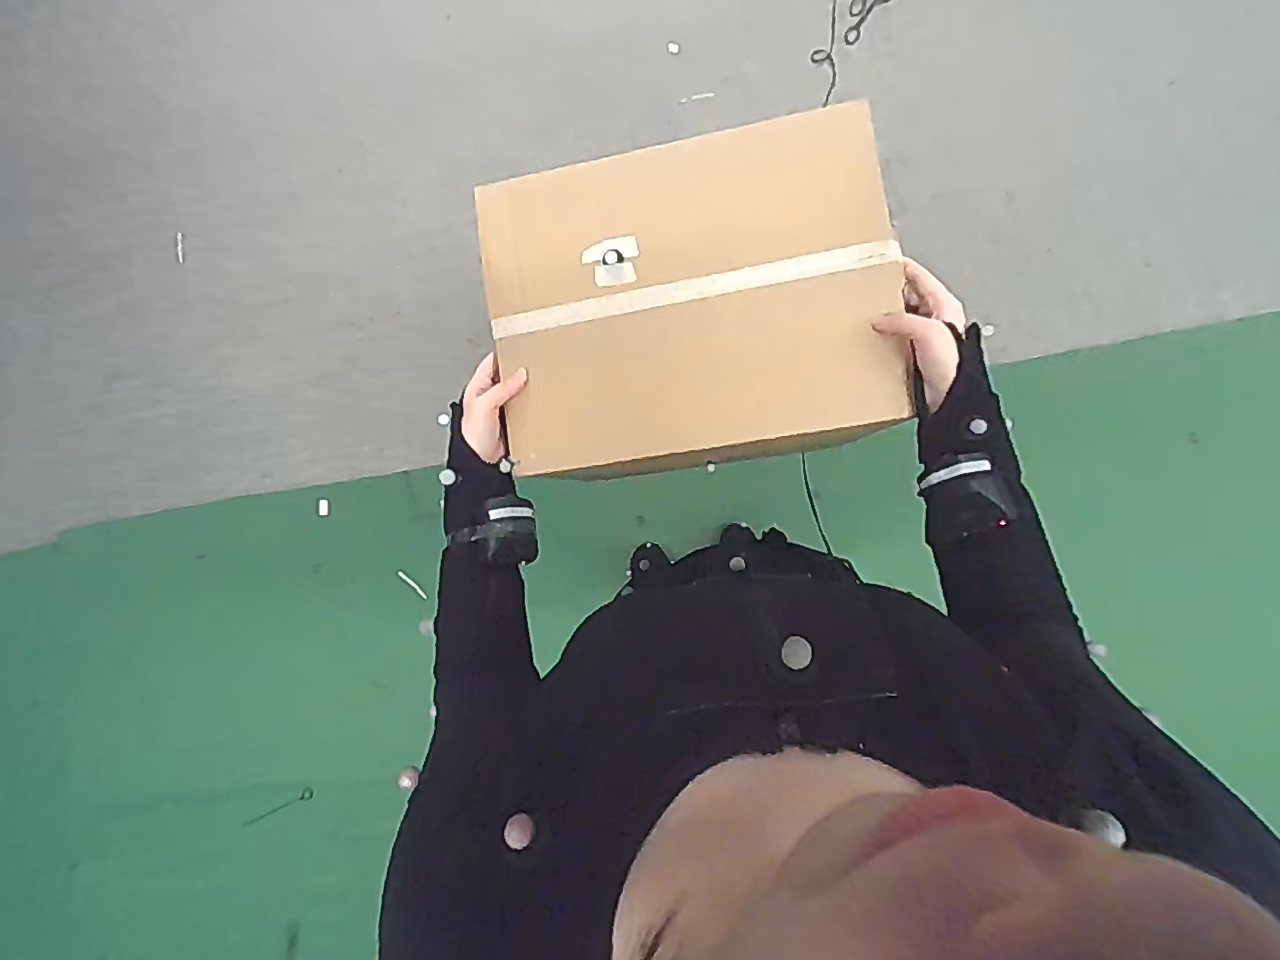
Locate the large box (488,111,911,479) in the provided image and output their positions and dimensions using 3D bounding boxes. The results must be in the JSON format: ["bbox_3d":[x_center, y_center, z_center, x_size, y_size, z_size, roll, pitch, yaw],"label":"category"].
[{"bbox_3d":[0.073,-0.181,0.701,0.408,0.320,0.320,-8,87,9],"label":"large box"}]
